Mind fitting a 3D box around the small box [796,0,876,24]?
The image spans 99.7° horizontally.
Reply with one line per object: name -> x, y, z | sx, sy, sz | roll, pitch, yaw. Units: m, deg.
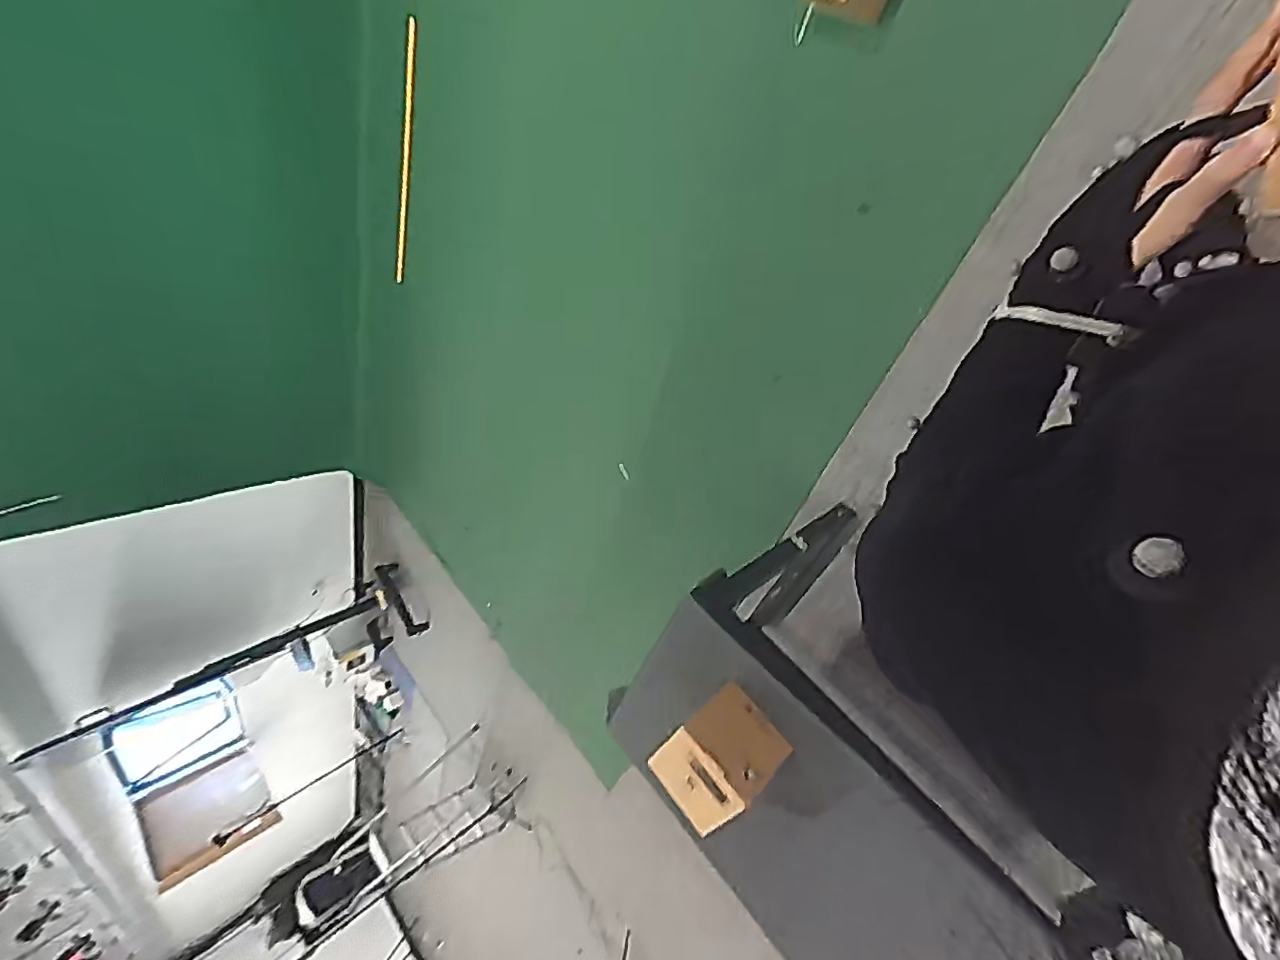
small box -> 0.437, -1.150, 1.194 | 0.179, 0.176, 0.168 | 42, 130, 25
